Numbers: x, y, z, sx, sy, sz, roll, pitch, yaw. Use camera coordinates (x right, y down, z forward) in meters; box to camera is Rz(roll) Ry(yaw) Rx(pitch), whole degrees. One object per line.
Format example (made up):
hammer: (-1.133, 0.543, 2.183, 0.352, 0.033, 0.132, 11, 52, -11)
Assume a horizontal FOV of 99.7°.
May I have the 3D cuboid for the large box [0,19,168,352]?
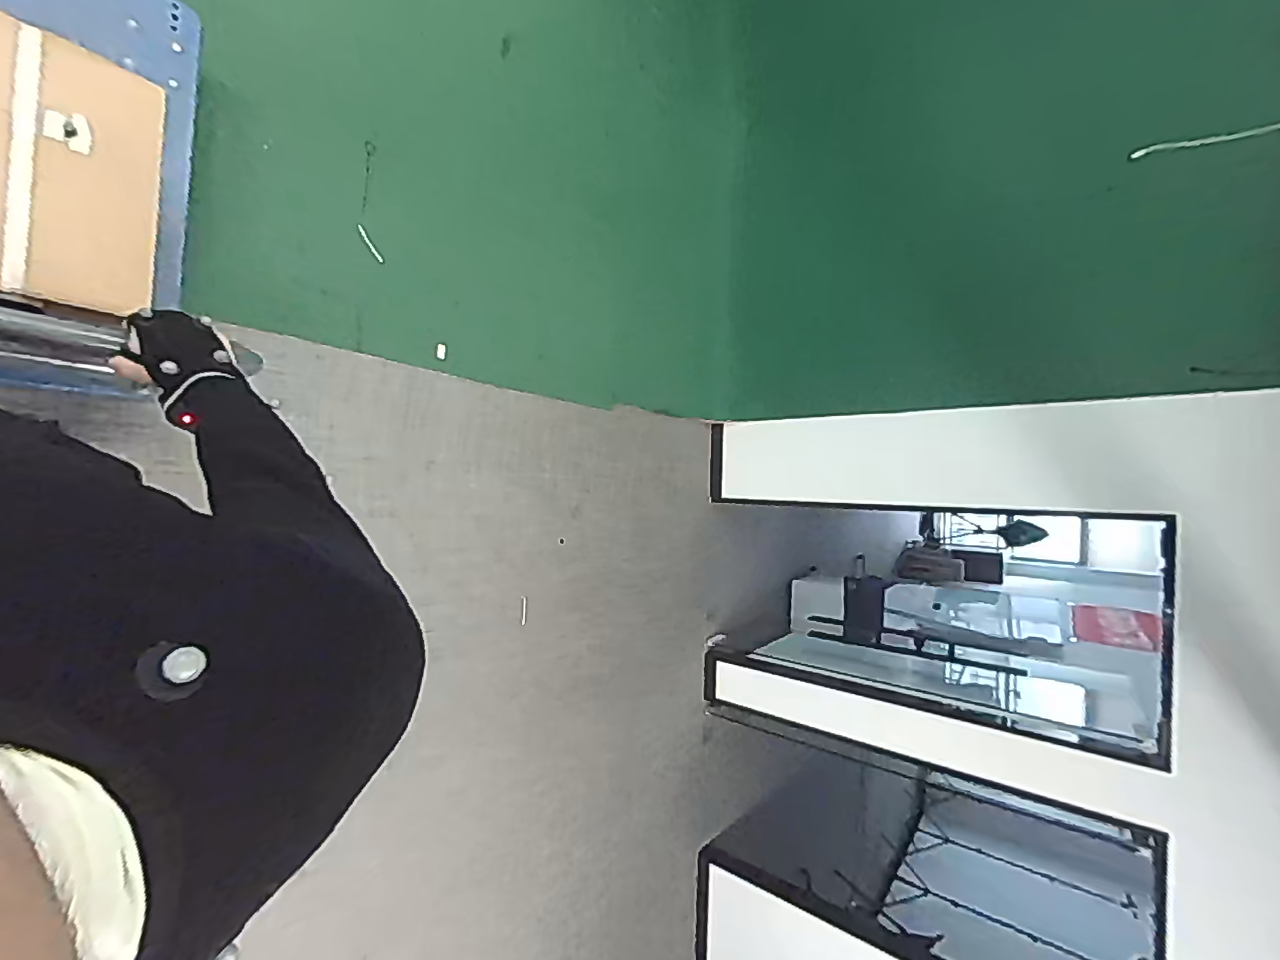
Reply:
large box: (-1.016, -0.456, 0.884, 0.320, 0.320, 0.408, 4, 86, -53)
